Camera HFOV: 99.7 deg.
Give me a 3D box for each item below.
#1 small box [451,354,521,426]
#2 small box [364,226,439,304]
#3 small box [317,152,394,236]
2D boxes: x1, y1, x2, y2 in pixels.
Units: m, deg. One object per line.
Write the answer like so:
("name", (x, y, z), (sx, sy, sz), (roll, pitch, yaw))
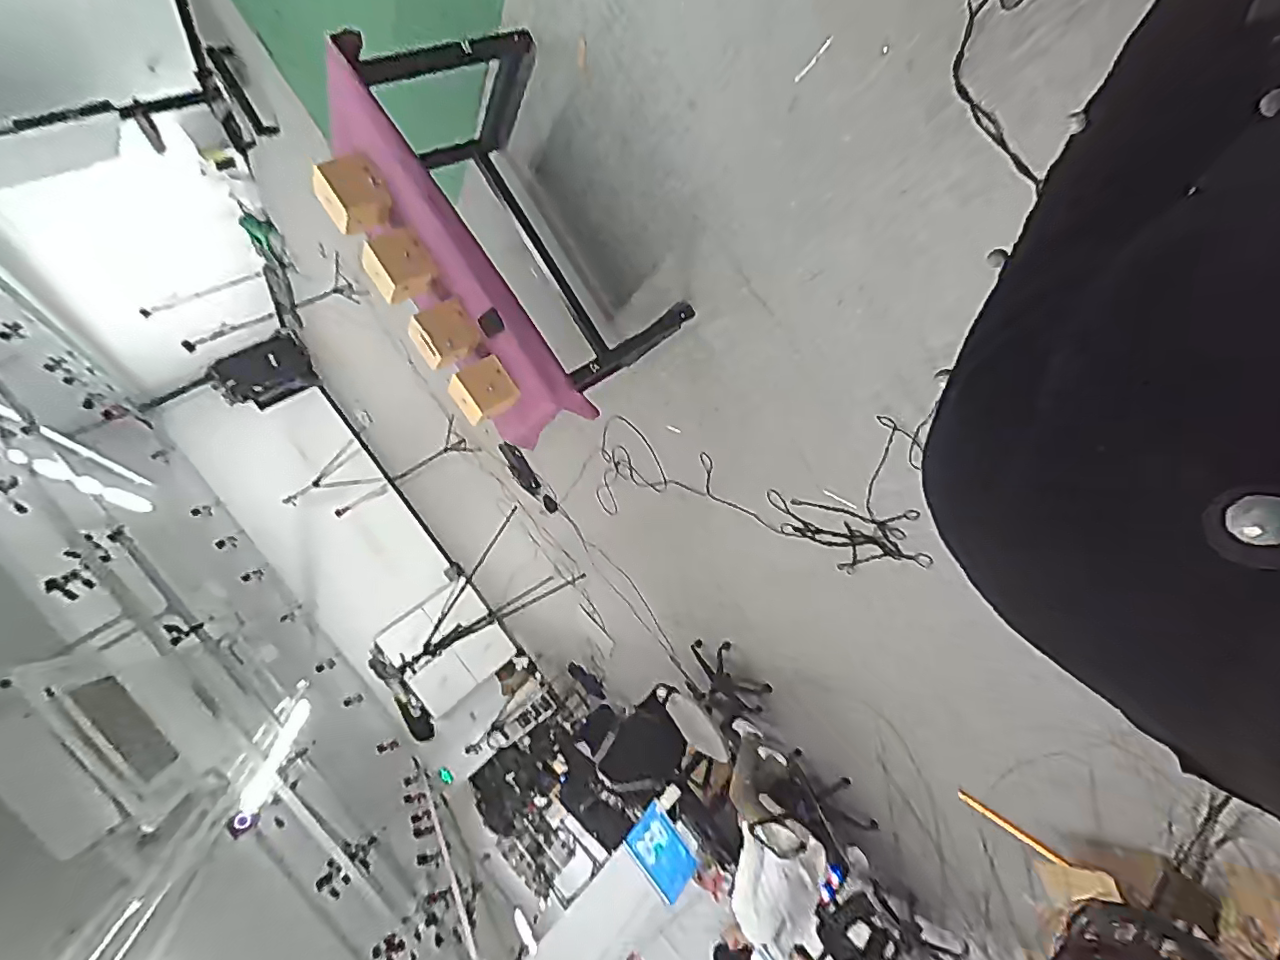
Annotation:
("small box", (-0.551, -0.325, 1.943), (0.168, 0.176, 0.179), (56, 153, -6))
("small box", (-0.819, -0.741, 1.863), (0.168, 0.176, 0.179), (59, 152, -11))
("small box", (-0.953, -0.959, 1.814), (0.179, 0.176, 0.168), (-9, 116, 59))
